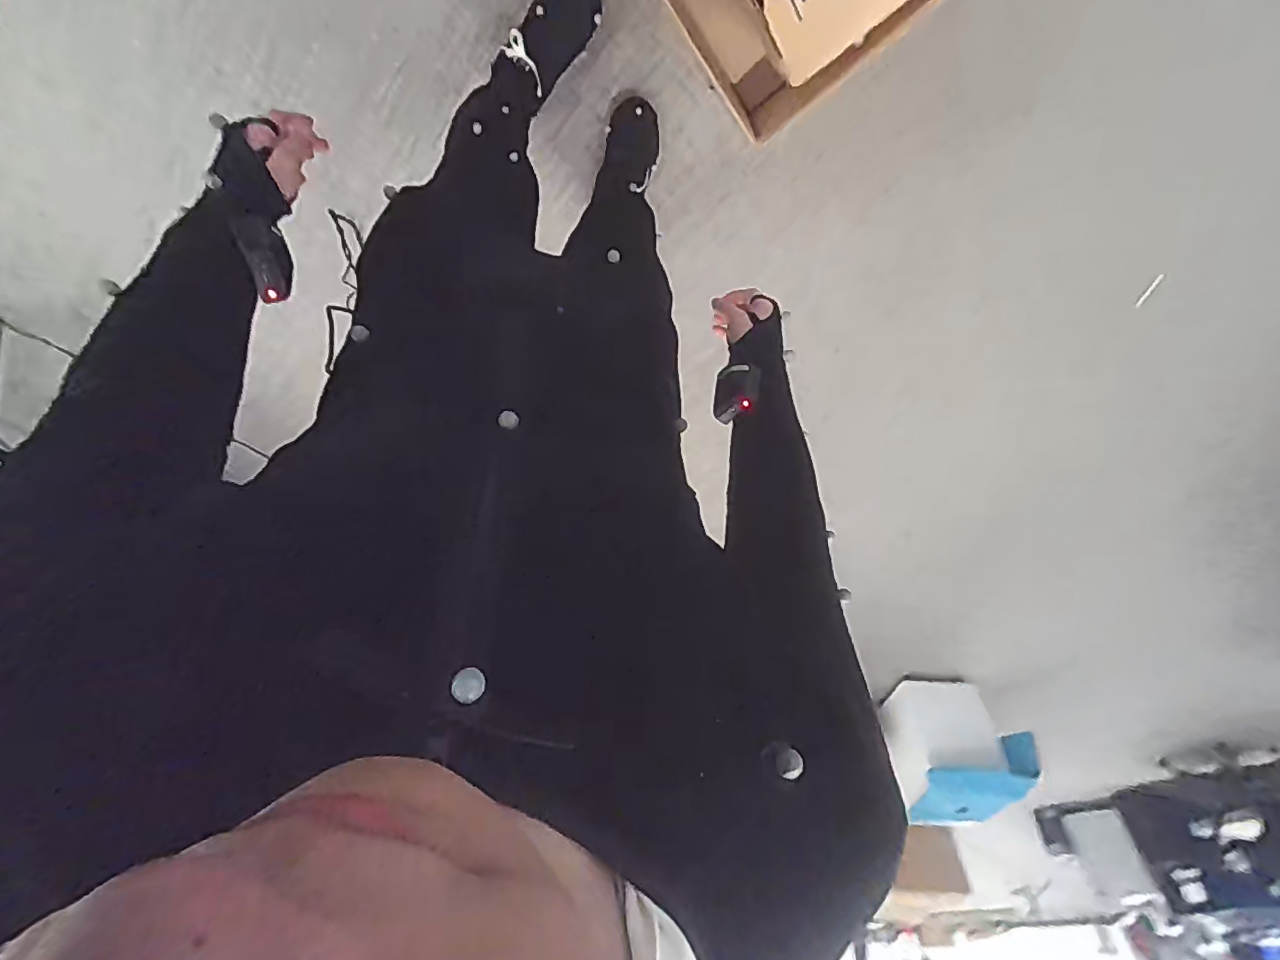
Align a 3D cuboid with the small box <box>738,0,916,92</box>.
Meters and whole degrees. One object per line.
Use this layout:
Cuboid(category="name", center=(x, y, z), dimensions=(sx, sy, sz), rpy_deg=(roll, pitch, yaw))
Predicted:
Cuboid(category="small box", center=(0.181, -0.536, 0.537), dimensions=(0.179, 0.176, 0.168), rpy_deg=(-28, 126, 25))
